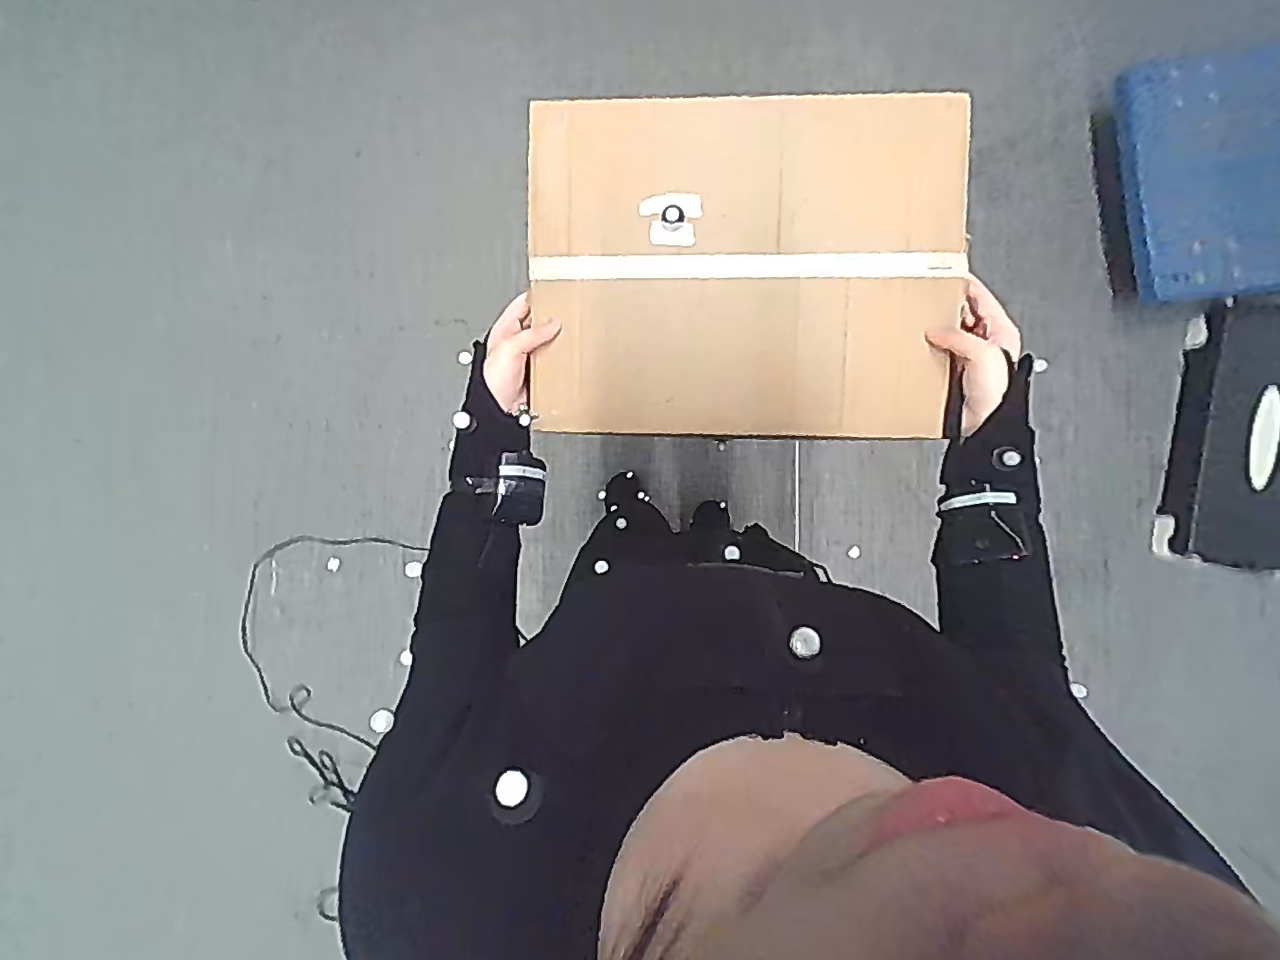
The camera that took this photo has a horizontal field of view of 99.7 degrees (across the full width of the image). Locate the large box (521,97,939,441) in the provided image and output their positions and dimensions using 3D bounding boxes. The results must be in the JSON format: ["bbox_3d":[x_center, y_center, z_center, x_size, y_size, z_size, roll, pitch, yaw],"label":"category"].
[{"bbox_3d":[0.097,-0.210,0.674,0.408,0.320,0.320,0,93,5],"label":"large box"}]
